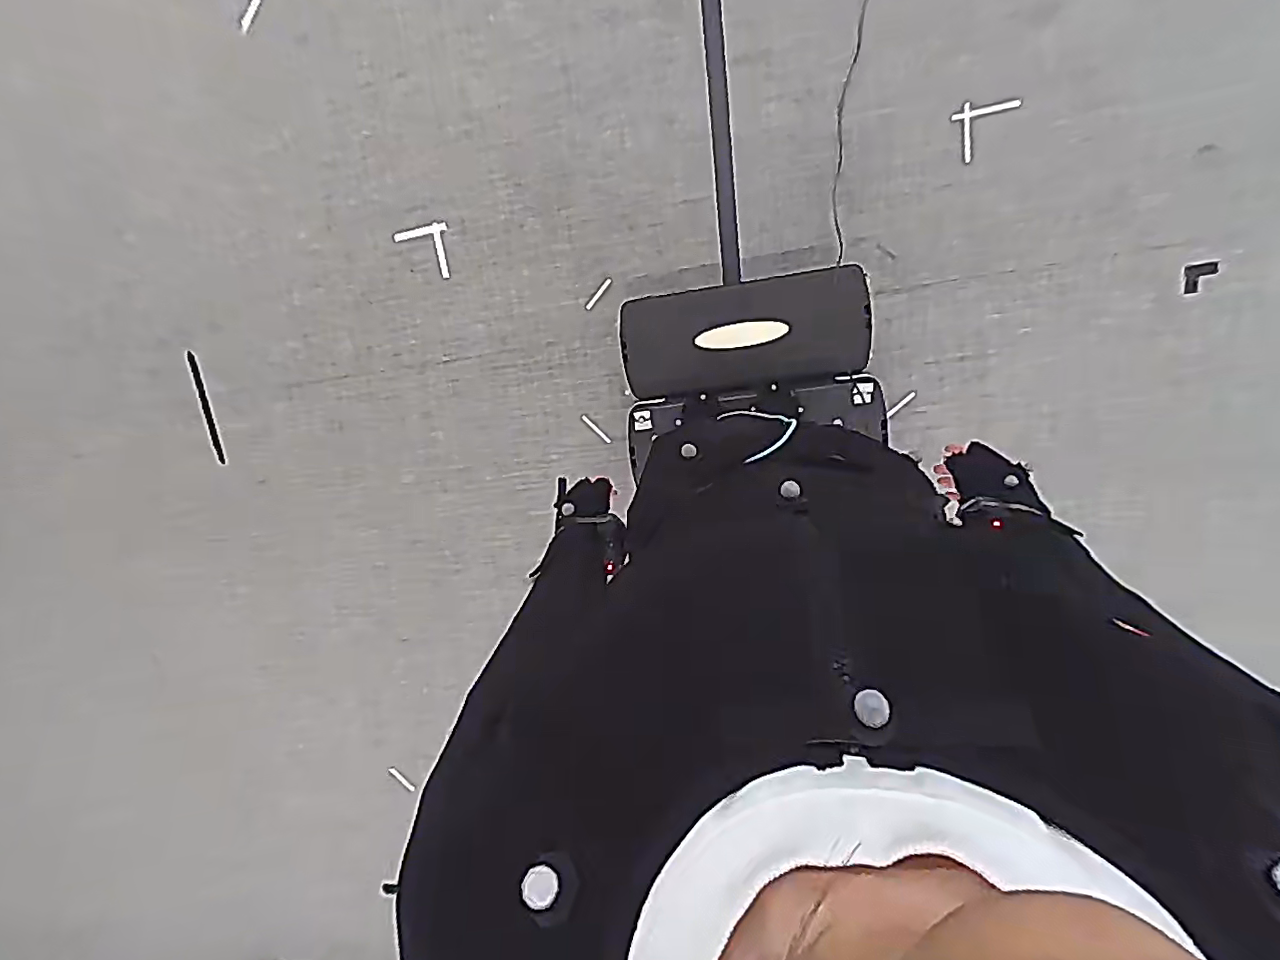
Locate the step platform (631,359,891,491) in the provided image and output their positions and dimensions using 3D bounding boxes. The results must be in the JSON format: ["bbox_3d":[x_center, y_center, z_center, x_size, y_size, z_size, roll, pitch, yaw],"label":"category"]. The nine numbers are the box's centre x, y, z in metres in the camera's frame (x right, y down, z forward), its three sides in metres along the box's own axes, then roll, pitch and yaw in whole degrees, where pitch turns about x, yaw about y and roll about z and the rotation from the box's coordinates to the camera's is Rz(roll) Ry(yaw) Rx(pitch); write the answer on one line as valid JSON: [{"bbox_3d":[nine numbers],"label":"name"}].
[{"bbox_3d":[0.318,-0.147,1.496,0.684,0.204,0.286,-6,100,12],"label":"step platform"}]
